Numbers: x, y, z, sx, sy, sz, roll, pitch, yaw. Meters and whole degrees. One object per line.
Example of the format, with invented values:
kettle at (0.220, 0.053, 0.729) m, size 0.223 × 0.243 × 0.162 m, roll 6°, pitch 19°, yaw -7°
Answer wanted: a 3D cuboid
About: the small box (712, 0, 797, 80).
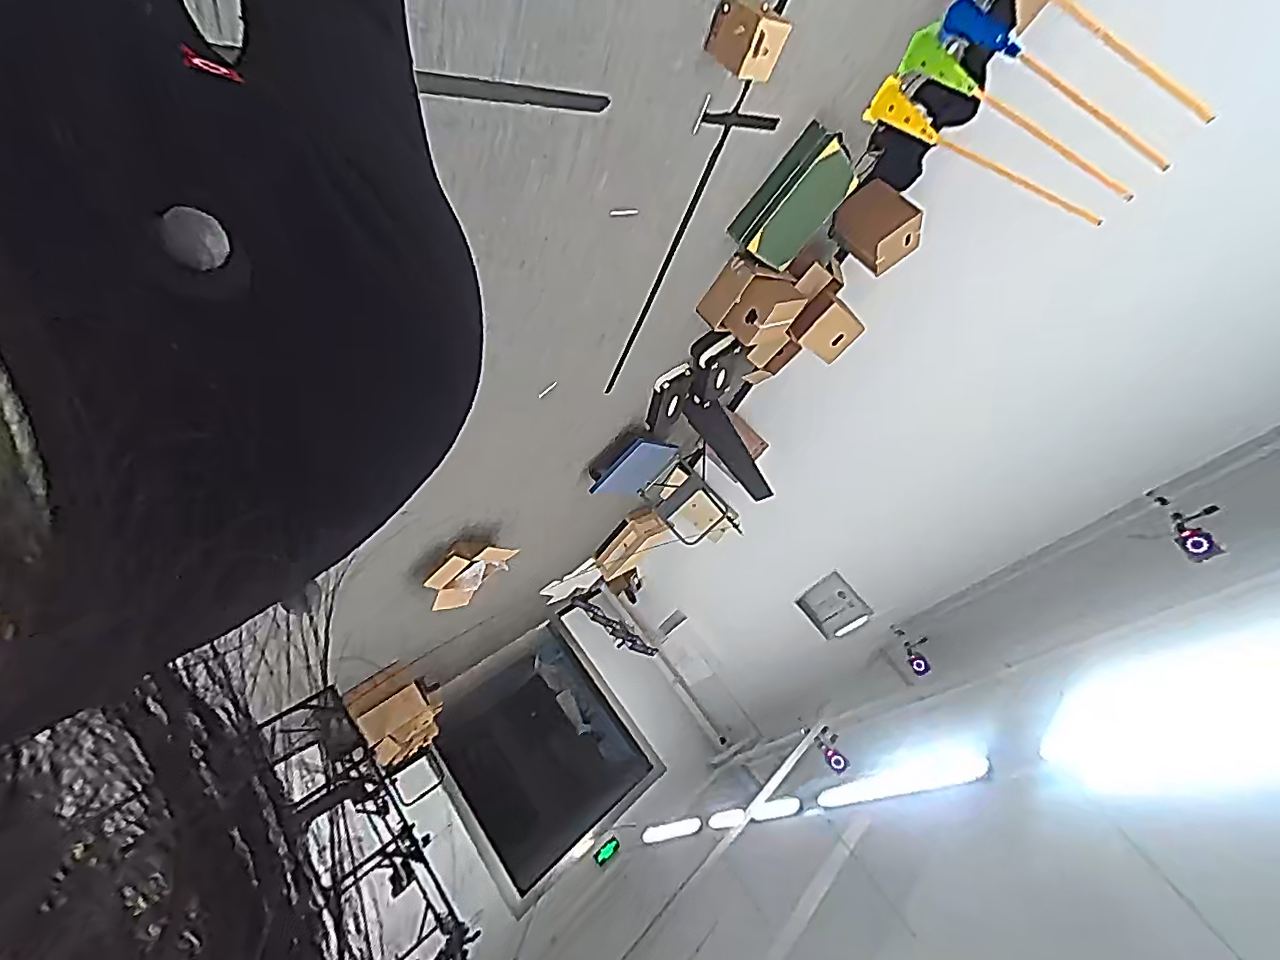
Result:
small box at (0.369, -1.451, 1.770) m, size 0.179 × 0.176 × 0.168 m, roll -28°, pitch 161°, yaw -36°
